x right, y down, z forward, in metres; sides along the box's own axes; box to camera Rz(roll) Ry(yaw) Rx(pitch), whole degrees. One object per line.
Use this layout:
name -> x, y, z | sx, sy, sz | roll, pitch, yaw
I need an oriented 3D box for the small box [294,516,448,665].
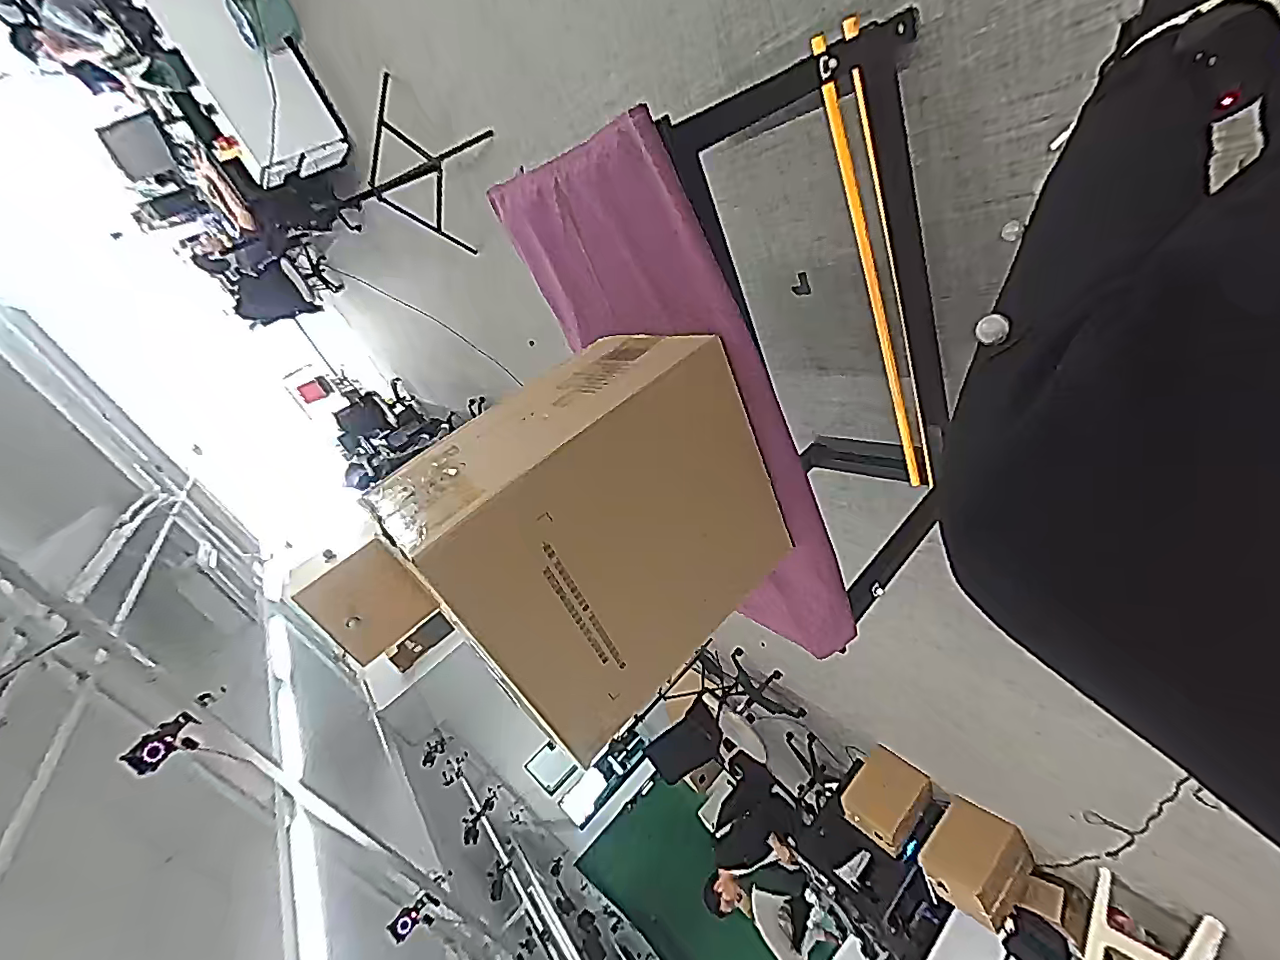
small box -> -0.481, 0.187, 0.971 | 0.168, 0.176, 0.179 | 13, 139, 56
